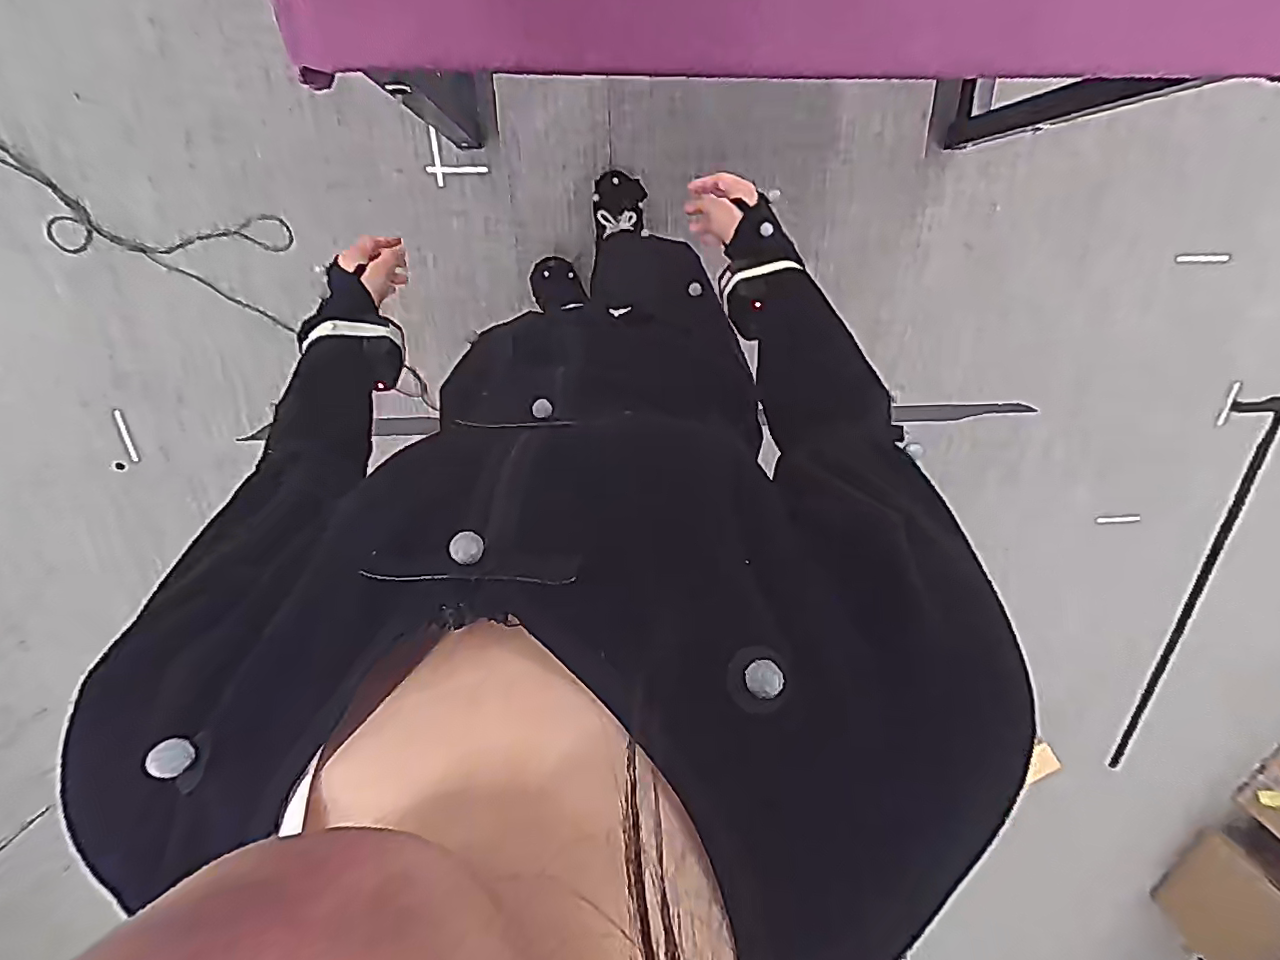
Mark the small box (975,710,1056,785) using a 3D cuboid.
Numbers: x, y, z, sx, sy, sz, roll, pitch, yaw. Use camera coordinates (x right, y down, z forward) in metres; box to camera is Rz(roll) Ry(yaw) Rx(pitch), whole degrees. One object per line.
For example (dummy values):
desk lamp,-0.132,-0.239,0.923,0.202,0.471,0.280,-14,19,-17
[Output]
small box,1.433,1.017,2.075,0.168,0.176,0.179,-37,113,11
